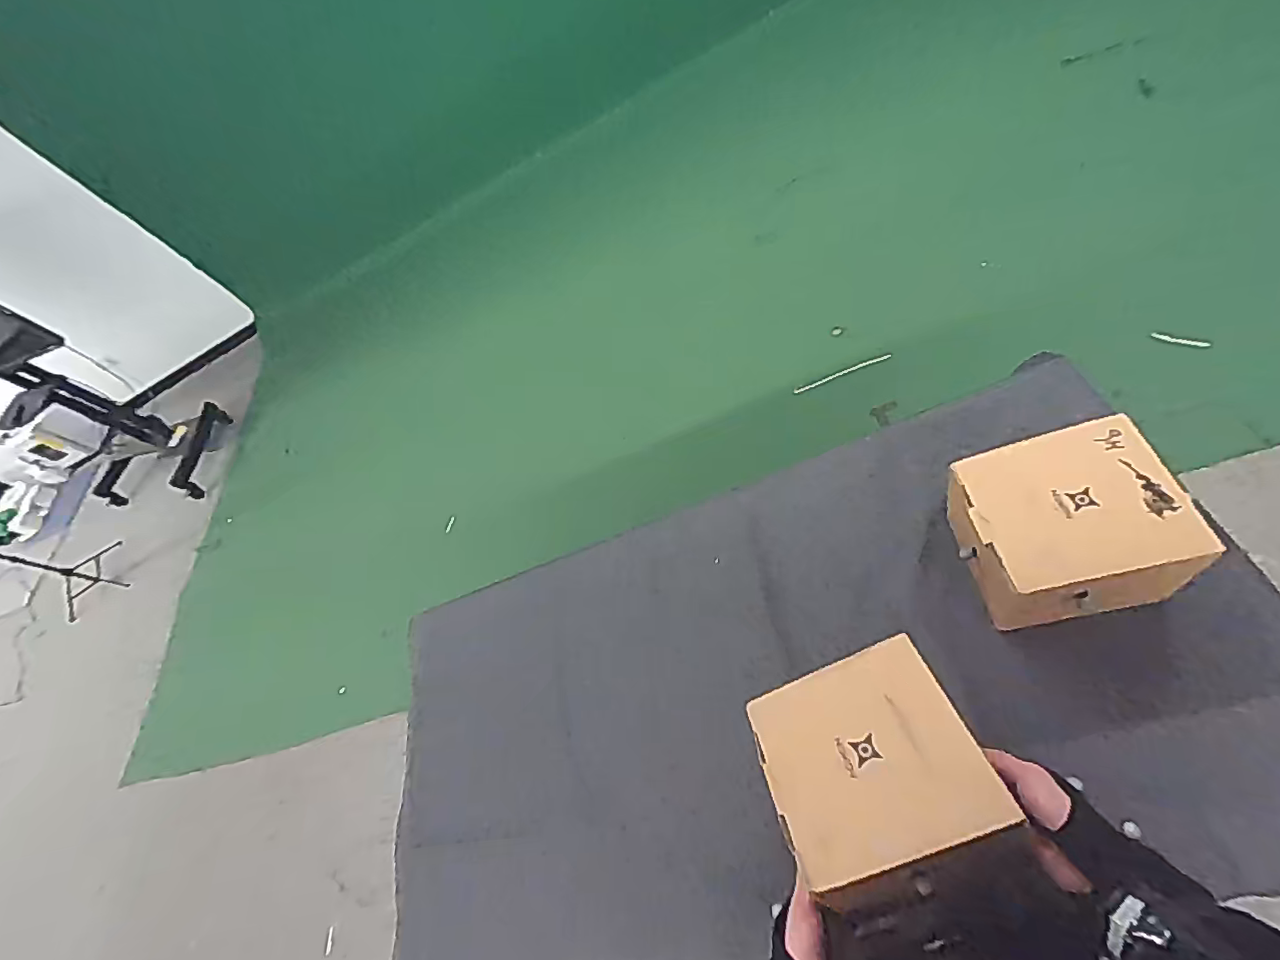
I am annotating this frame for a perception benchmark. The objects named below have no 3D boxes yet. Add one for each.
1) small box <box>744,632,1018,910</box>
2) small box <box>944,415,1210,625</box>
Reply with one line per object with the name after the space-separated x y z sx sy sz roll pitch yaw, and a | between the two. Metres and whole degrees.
0.230 0.286 0.524 0.179 0.176 0.168 -28 40 10 | small box
0.479 0.058 0.630 0.179 0.176 0.168 -19 57 19 | small box
